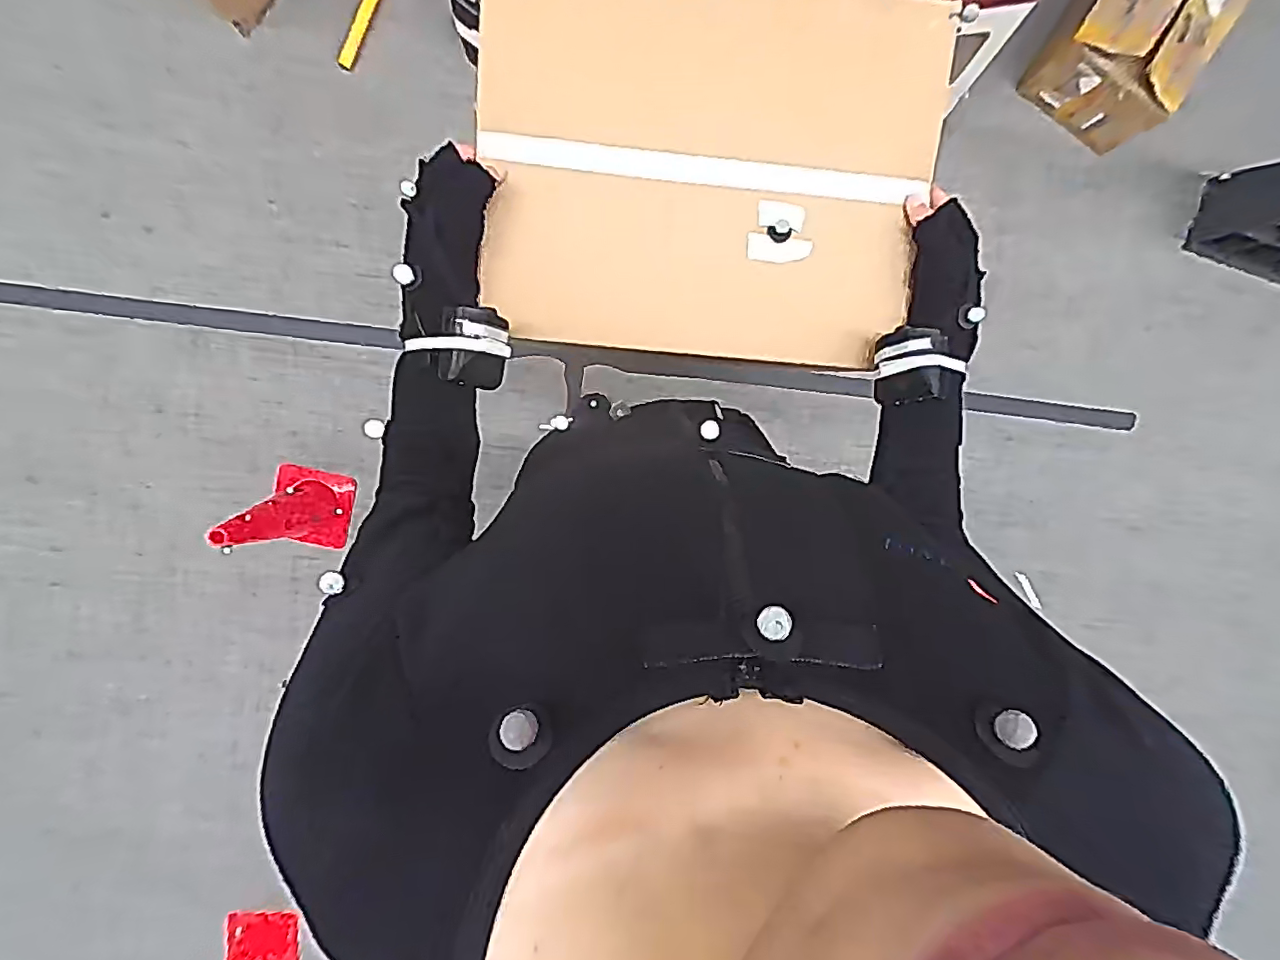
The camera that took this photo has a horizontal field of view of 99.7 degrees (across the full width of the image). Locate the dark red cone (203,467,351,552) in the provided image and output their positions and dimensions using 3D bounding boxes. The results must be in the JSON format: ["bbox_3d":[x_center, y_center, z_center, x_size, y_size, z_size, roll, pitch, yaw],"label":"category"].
[{"bbox_3d":[-0.847,0.095,1.239,0.201,0.394,0.202,12,96,-6],"label":"dark red cone"}]

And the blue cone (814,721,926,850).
[{"bbox_3d":[0.634,0.835,1.456,0.192,0.380,0.193,9,96,-6],"label":"blue cone"}]

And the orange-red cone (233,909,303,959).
[{"bbox_3d":[-1.074,1.365,1.402,0.198,0.360,0.199,4,98,-3],"label":"orange-red cone"}]

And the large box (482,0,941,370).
[{"bbox_3d":[0.048,-0.300,0.632,0.408,0.320,0.320,4,101,-5],"label":"large box"}]
